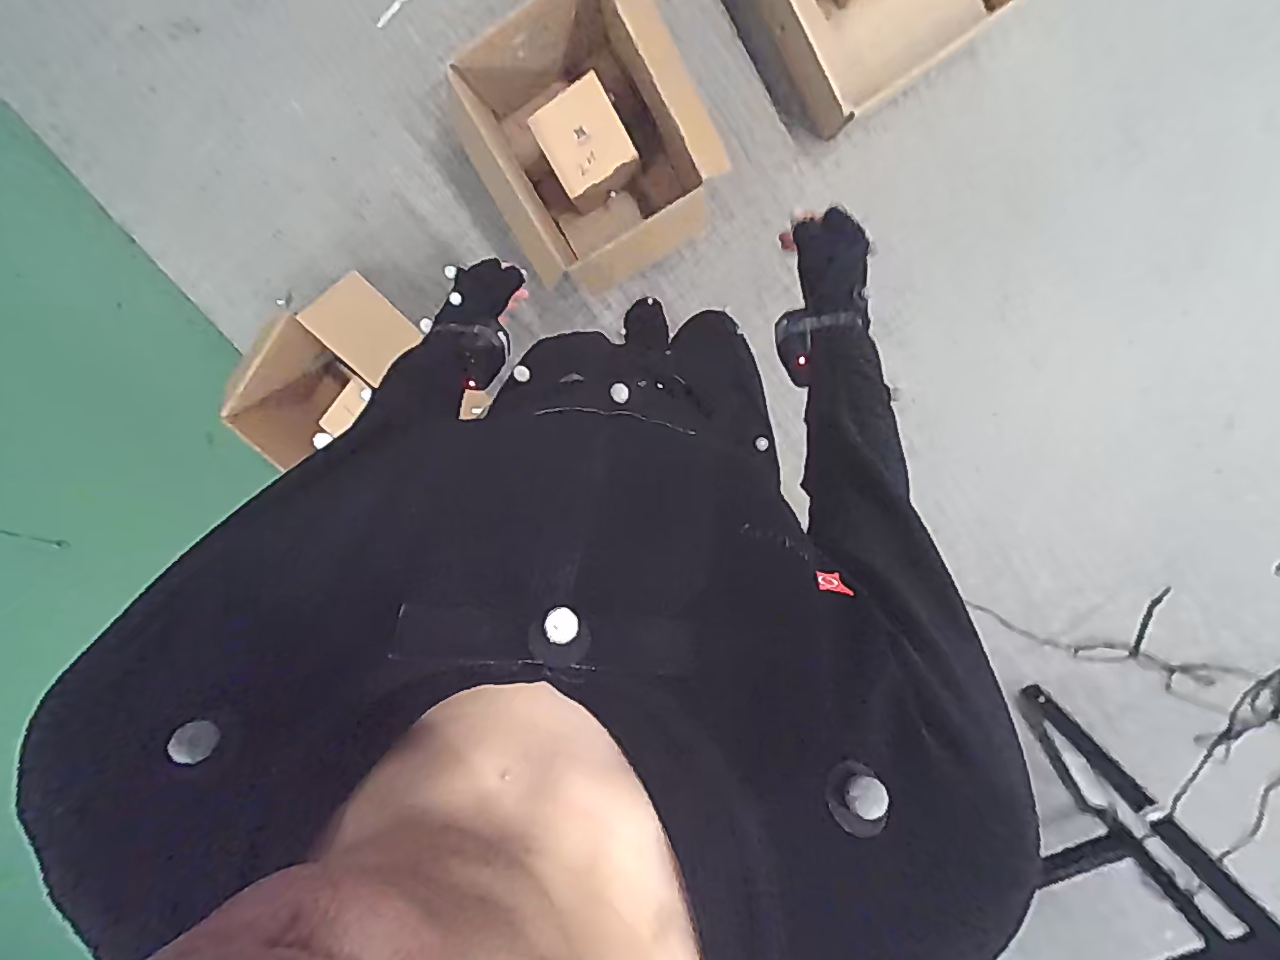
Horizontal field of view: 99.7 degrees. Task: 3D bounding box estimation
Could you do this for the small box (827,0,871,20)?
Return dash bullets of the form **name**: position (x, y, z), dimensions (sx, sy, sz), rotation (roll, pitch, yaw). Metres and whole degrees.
- **small box**: position (0.431, -1.048, 1.027), dimensions (0.168, 0.176, 0.179), rotation (-36, 101, 11)
